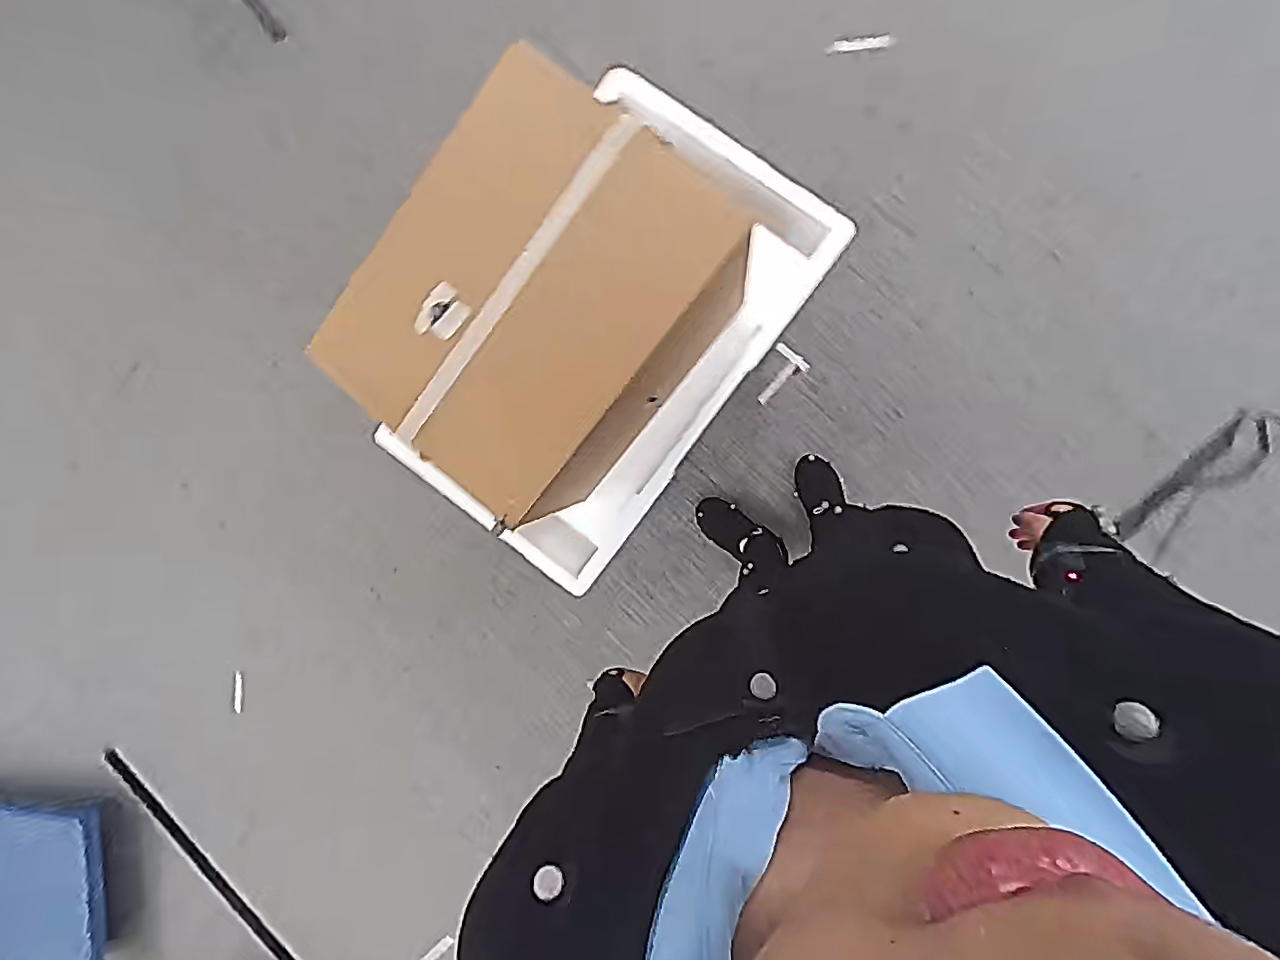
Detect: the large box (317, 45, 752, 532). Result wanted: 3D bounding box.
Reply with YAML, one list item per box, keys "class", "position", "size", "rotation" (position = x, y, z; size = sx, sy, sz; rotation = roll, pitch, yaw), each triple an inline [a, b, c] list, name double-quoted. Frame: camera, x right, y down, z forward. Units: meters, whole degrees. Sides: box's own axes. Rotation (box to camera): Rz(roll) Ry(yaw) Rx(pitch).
- class: "large box"
  position: [-0.101, -0.202, 0.704]
  size: [0.320, 0.320, 0.408]
  rotation: [39, 99, 6]
